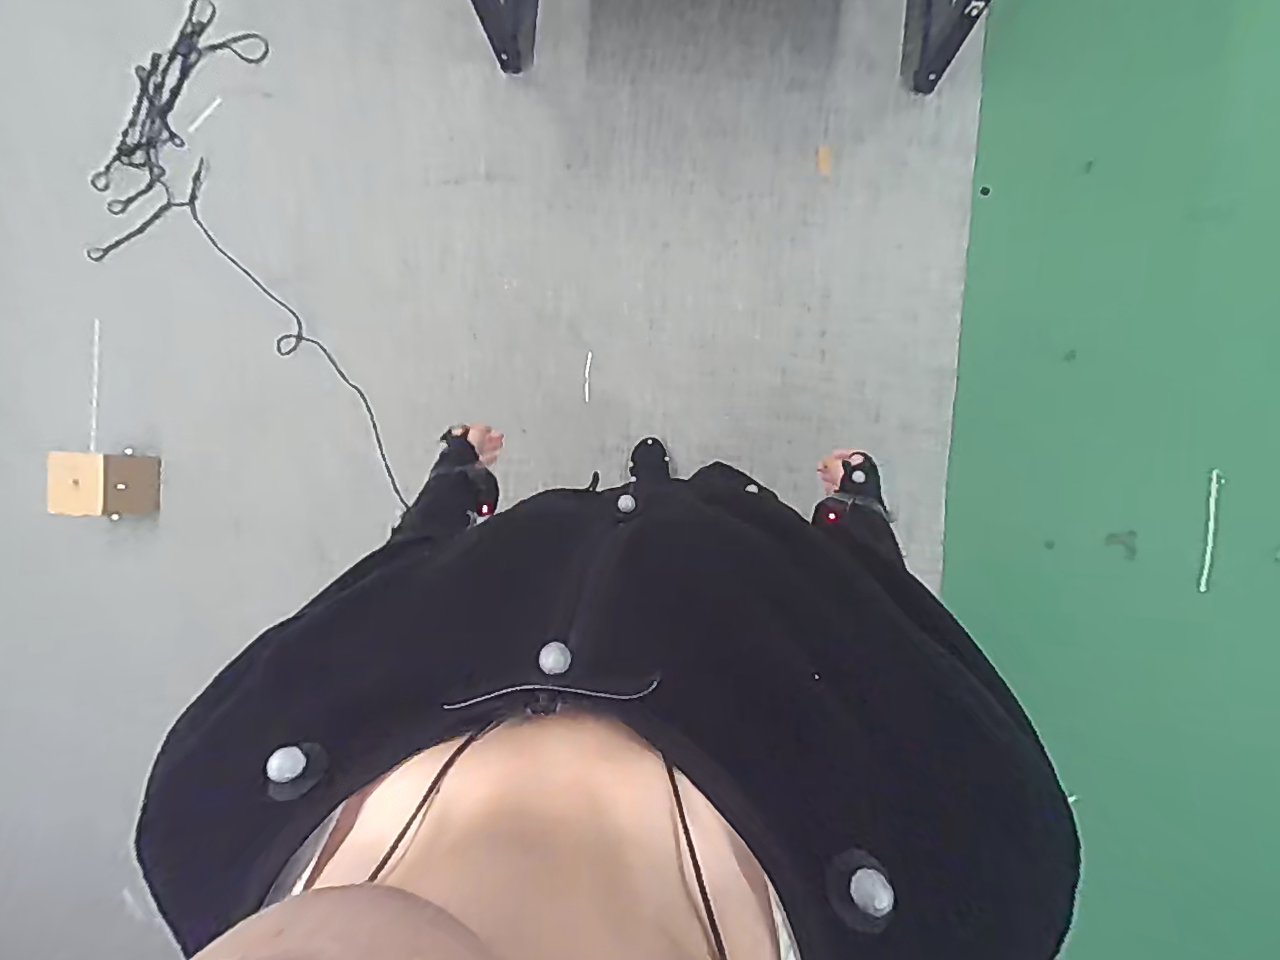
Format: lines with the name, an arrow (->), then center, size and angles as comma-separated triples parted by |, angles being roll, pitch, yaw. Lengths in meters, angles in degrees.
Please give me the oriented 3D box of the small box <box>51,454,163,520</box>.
small box -> -1.536, 0.018, 1.566 | 0.168, 0.176, 0.179 | 3, 90, 5
